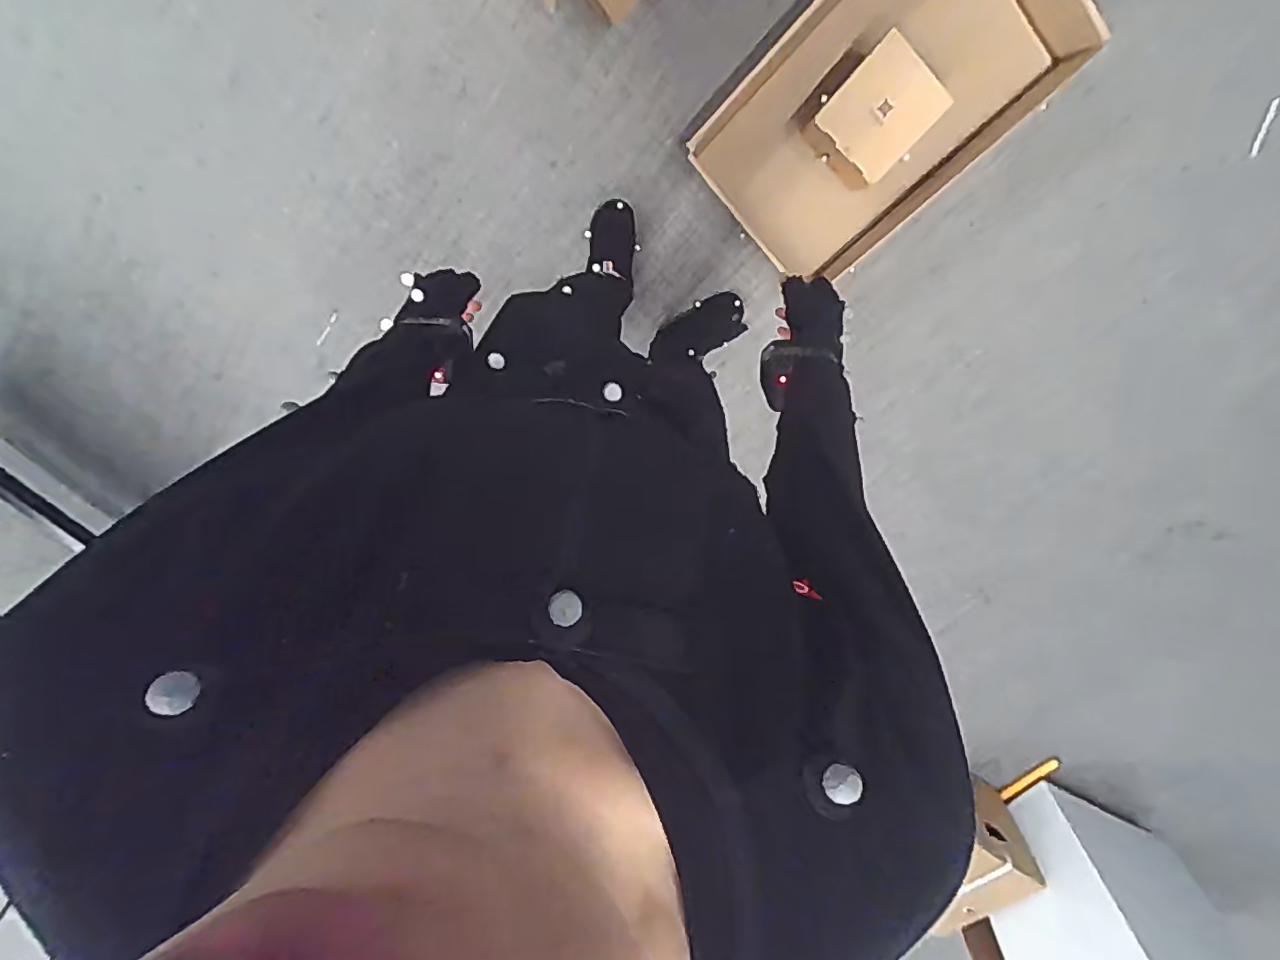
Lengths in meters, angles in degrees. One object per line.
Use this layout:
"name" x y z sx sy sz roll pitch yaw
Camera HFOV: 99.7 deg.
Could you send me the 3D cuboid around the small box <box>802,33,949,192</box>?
"small box" 0.433 -0.682 1.029 0.168 0.176 0.179 40 114 -11
